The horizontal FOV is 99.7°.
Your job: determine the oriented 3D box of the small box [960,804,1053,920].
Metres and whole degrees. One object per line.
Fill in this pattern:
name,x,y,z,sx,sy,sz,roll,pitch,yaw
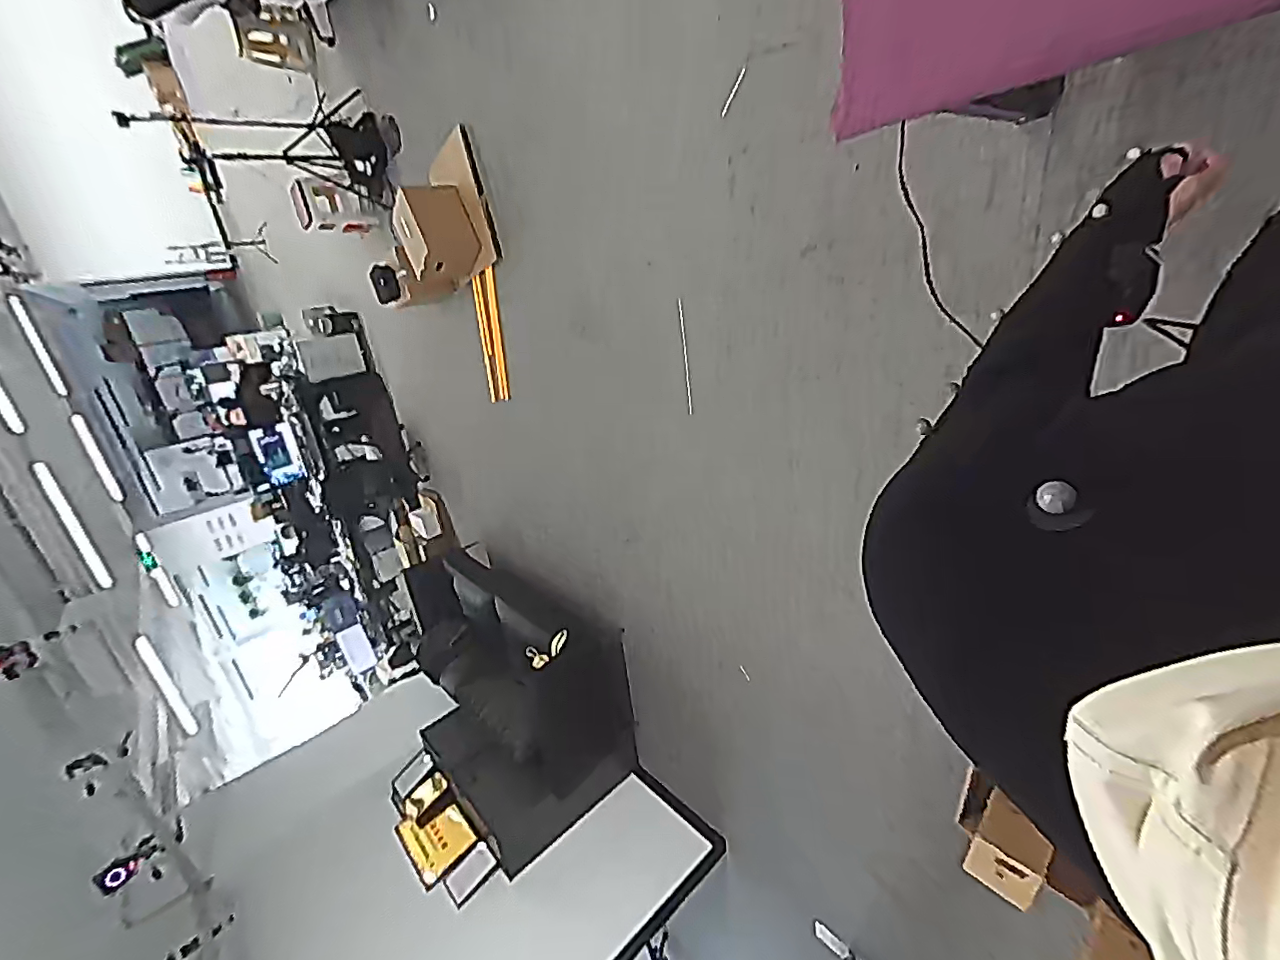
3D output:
small box,1.049,1.081,1.545,0.168,0.176,0.179,23,128,41

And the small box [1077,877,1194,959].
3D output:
small box,1.242,1.162,1.355,0.168,0.176,0.179,23,127,44

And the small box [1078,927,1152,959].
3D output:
small box,1.121,1.208,1.254,0.168,0.176,0.179,26,130,42
